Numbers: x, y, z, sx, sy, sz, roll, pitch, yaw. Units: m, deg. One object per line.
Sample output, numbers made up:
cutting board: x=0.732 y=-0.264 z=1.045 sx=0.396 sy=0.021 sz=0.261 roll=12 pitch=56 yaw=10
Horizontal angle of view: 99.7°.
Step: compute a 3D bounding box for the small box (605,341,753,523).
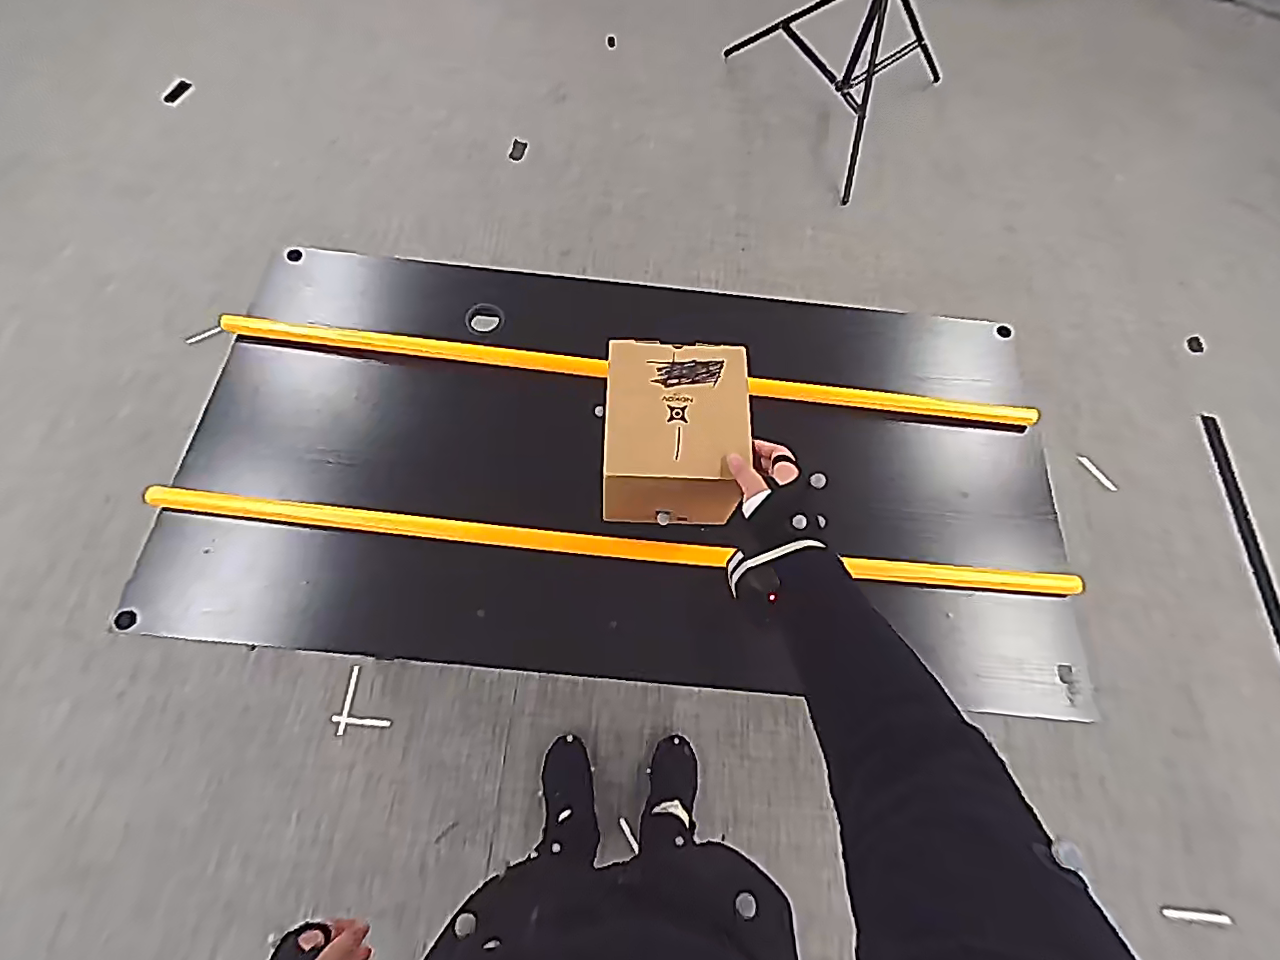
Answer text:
small box: x=0.041 y=-0.054 z=0.695 sx=0.168 sy=0.176 sz=0.179 roll=2 pitch=69 yaw=-2
